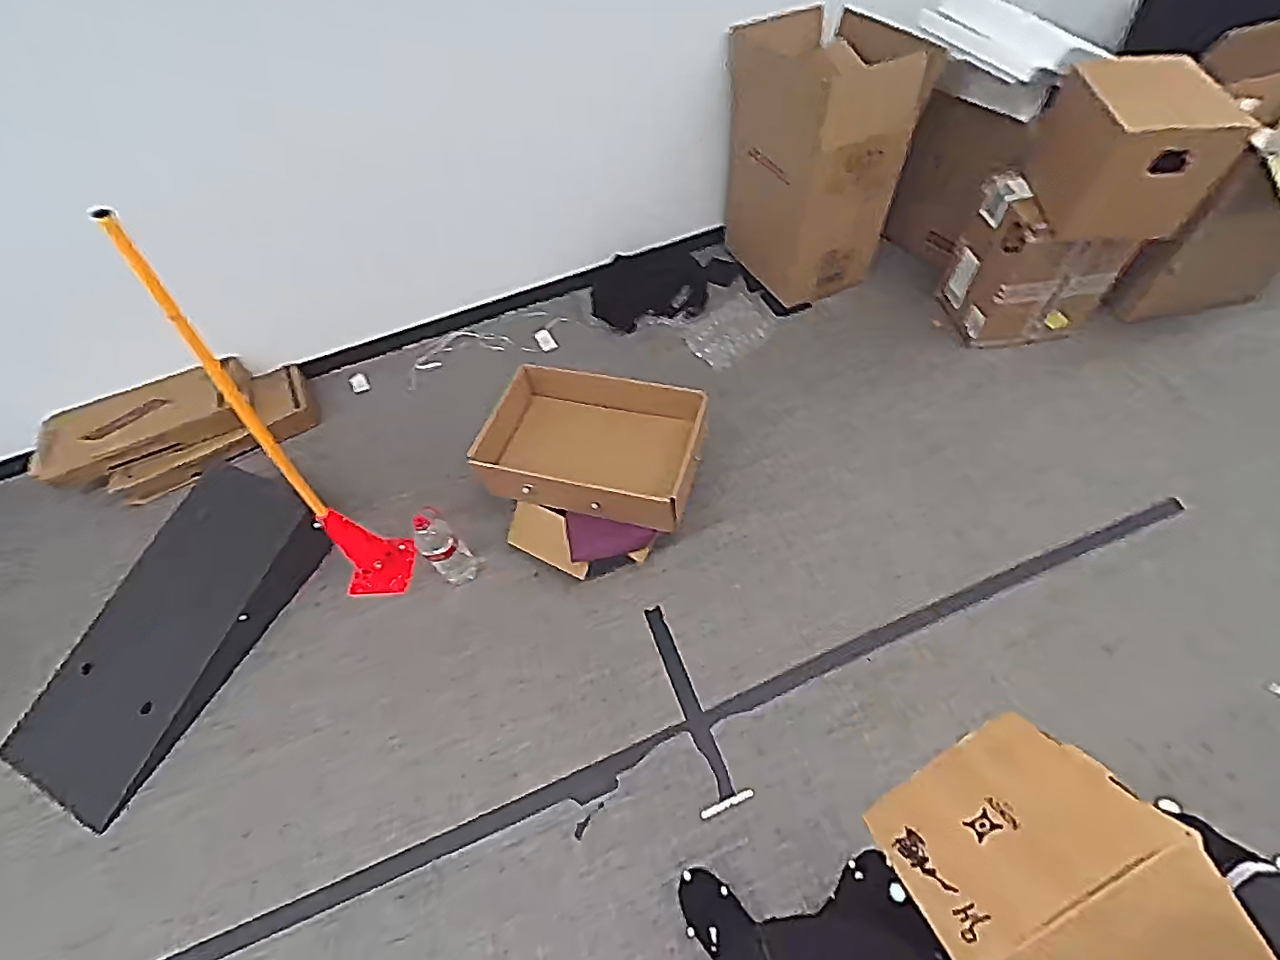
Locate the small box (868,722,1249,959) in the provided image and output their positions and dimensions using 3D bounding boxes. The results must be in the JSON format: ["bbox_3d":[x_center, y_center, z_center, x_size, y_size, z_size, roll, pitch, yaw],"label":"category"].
[{"bbox_3d":[0.334,0.349,0.444,0.179,0.168,0.176,-34,92,1],"label":"small box"}]
